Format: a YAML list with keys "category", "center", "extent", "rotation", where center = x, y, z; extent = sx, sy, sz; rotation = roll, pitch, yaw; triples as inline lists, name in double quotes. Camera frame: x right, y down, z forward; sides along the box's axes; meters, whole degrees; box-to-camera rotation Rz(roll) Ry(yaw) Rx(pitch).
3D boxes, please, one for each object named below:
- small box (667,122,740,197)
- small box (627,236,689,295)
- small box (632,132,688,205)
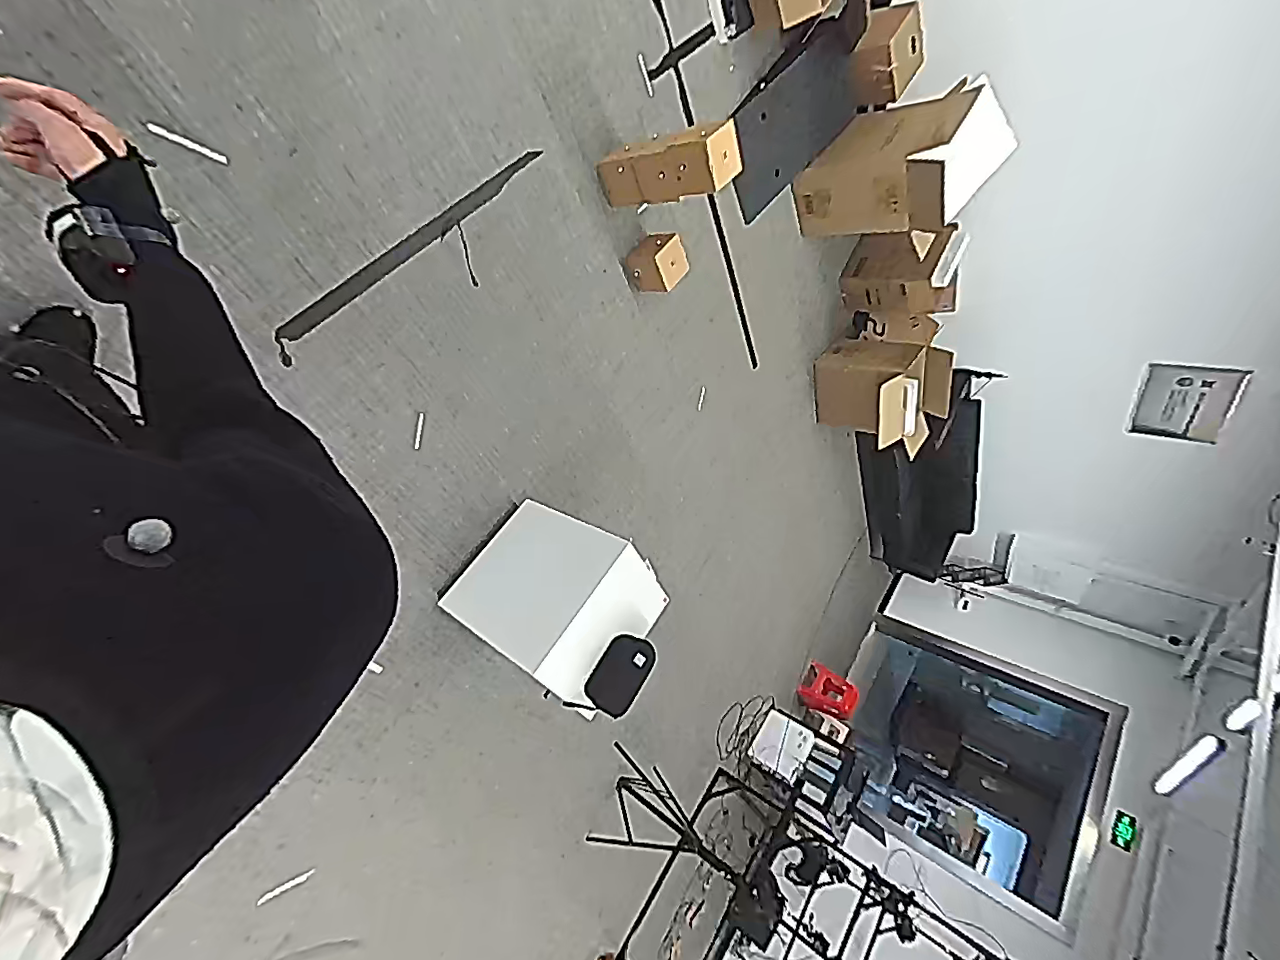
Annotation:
- category: "small box"
  center: [0.219, -1.097, 1.858]
  extent: [0.179, 0.176, 0.168]
  rotation: [-50, 137, -25]
- category: "small box"
  center: [0.074, -0.908, 2.287]
  extent: [0.179, 0.176, 0.168]
  rotation: [-53, 136, -22]
- category: "small box"
  center: [0.097, -1.124, 1.962]
  extent: [0.168, 0.176, 0.179]
  rotation: [-52, 139, -24]
